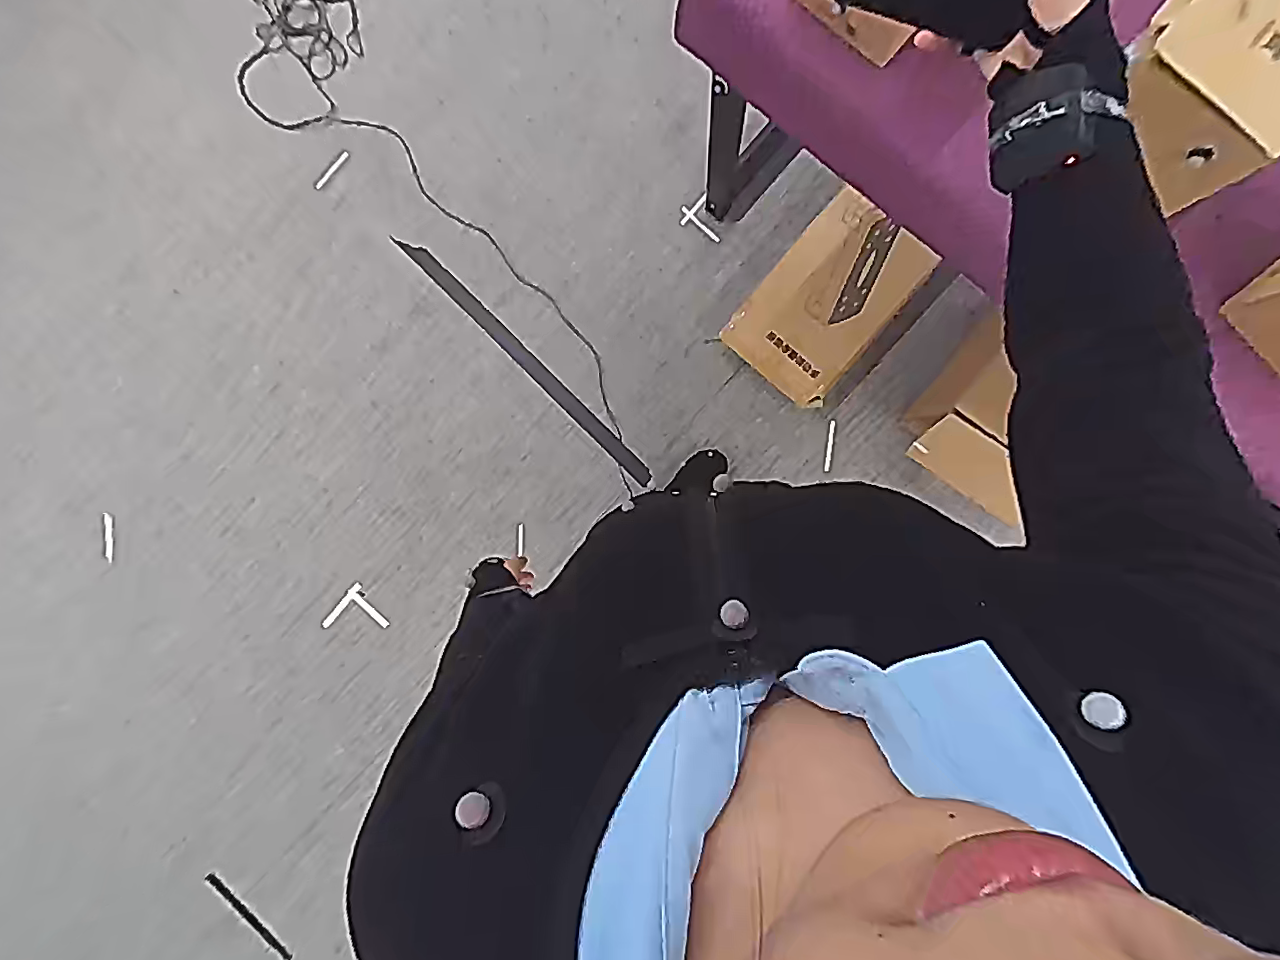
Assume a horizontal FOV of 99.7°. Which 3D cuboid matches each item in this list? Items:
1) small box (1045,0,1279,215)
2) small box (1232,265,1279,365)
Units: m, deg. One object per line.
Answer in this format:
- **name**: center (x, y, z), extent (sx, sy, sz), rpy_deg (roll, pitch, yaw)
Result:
- **small box**: center (0.633, -0.439, 0.618), extent (0.179, 0.176, 0.168), rpy_deg (41, 93, 3)
- **small box**: center (0.855, -0.211, 0.603), extent (0.168, 0.176, 0.179), rpy_deg (-42, 88, 5)
